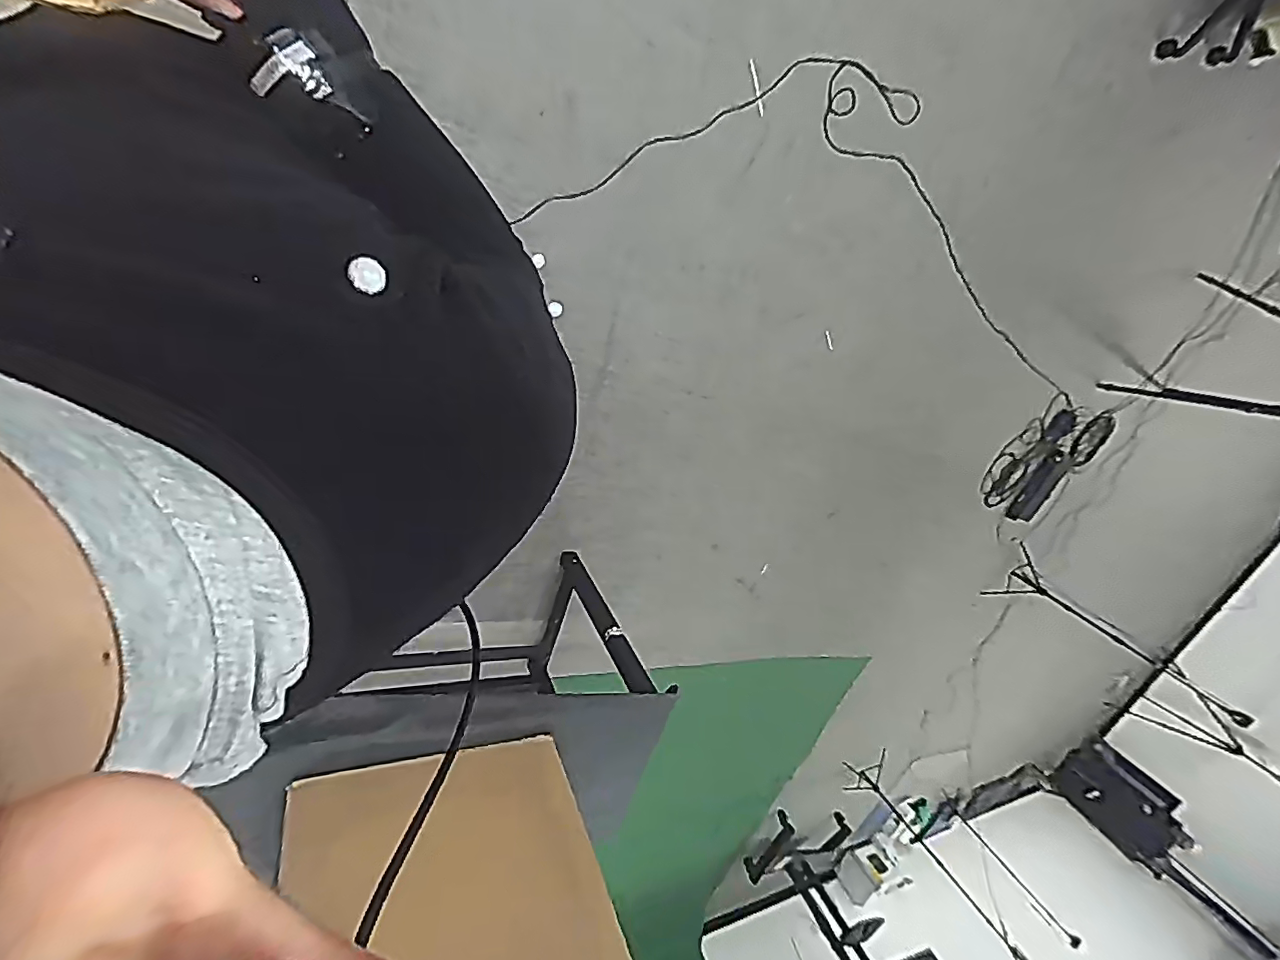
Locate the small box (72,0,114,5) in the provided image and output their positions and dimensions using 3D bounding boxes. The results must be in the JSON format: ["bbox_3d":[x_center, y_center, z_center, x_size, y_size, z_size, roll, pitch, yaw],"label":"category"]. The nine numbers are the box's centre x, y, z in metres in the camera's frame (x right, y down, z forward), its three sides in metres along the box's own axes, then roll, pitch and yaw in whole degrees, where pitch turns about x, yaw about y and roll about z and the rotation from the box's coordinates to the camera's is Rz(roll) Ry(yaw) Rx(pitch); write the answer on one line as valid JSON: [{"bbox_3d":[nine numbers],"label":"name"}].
[{"bbox_3d":[-0.274,-0.264,0.144,0.168,0.176,0.179,-11,134,-28],"label":"small box"}]
